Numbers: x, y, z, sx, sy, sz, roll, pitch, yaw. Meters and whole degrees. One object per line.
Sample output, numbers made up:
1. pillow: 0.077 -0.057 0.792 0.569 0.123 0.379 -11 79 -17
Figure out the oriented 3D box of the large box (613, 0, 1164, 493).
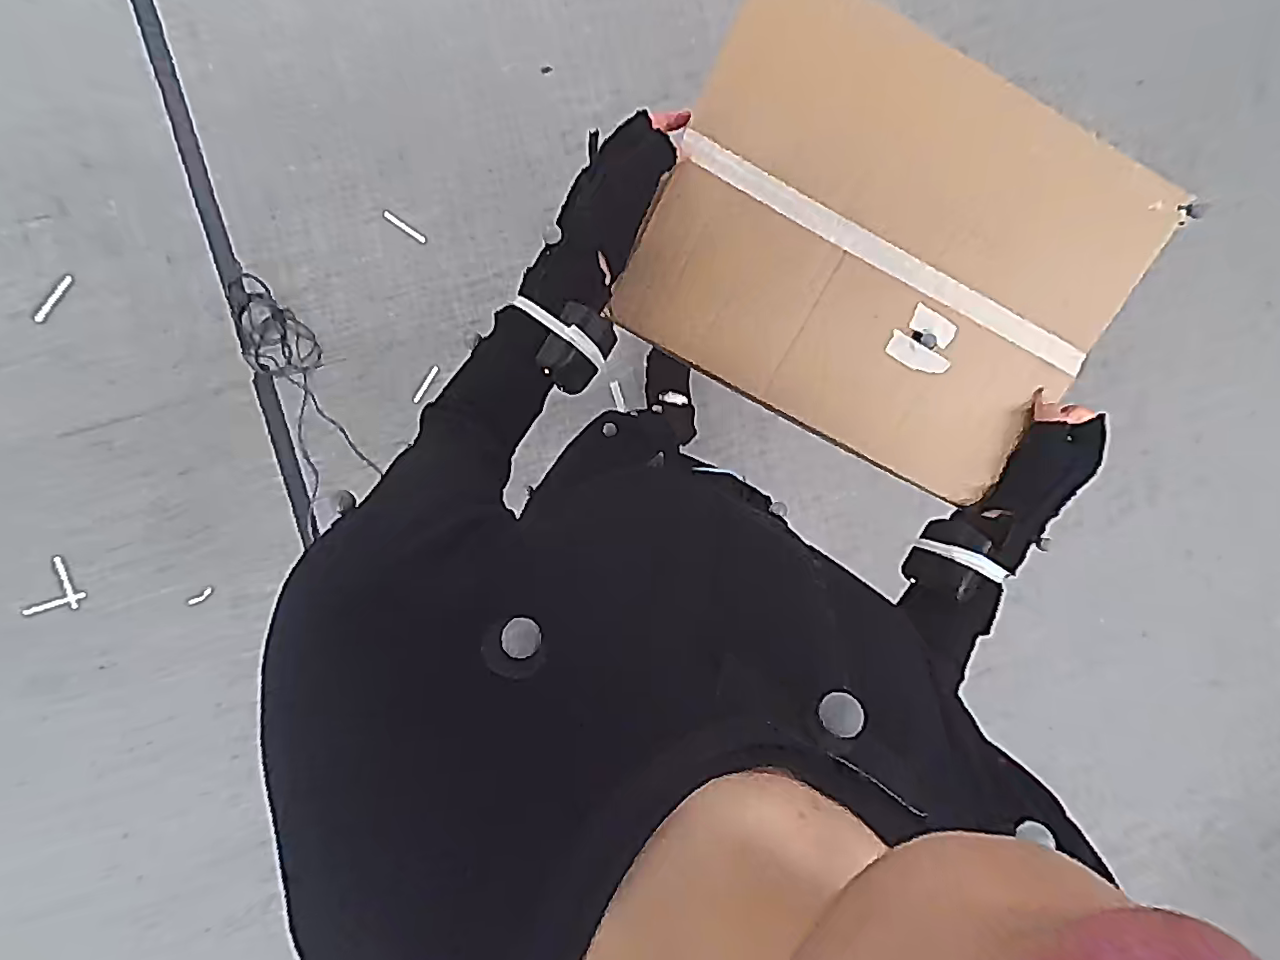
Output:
1. large box: 0.216 -0.237 0.630 0.408 0.320 0.320 27 103 -6
